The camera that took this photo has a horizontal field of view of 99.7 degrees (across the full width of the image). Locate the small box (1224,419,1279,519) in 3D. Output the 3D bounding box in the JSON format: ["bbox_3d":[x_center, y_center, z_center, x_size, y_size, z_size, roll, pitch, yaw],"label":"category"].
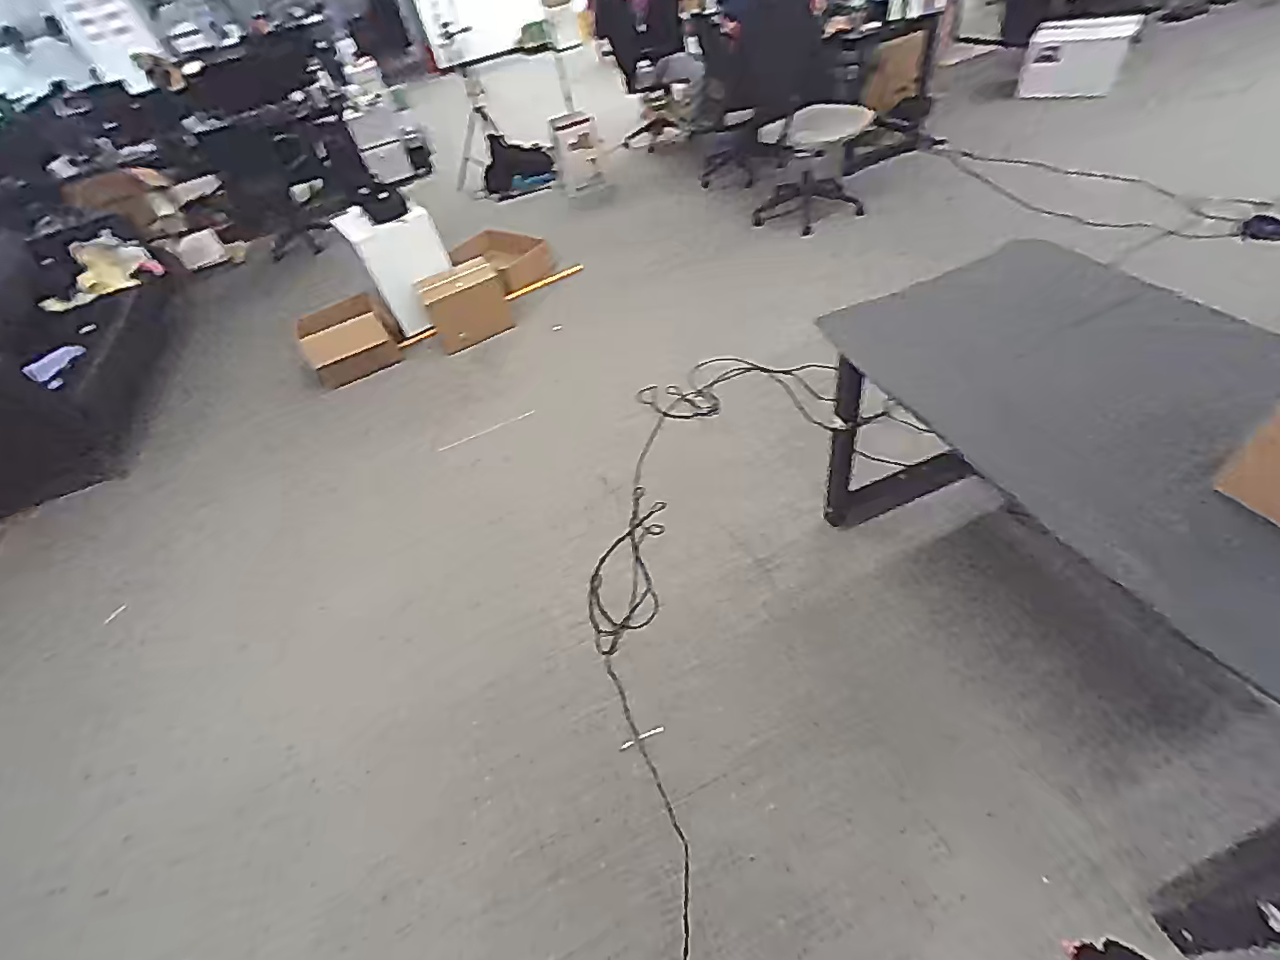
[{"bbox_3d":[0.951,-0.022,0.705,0.168,0.176,0.179,-23,47,-8],"label":"small box"}]
